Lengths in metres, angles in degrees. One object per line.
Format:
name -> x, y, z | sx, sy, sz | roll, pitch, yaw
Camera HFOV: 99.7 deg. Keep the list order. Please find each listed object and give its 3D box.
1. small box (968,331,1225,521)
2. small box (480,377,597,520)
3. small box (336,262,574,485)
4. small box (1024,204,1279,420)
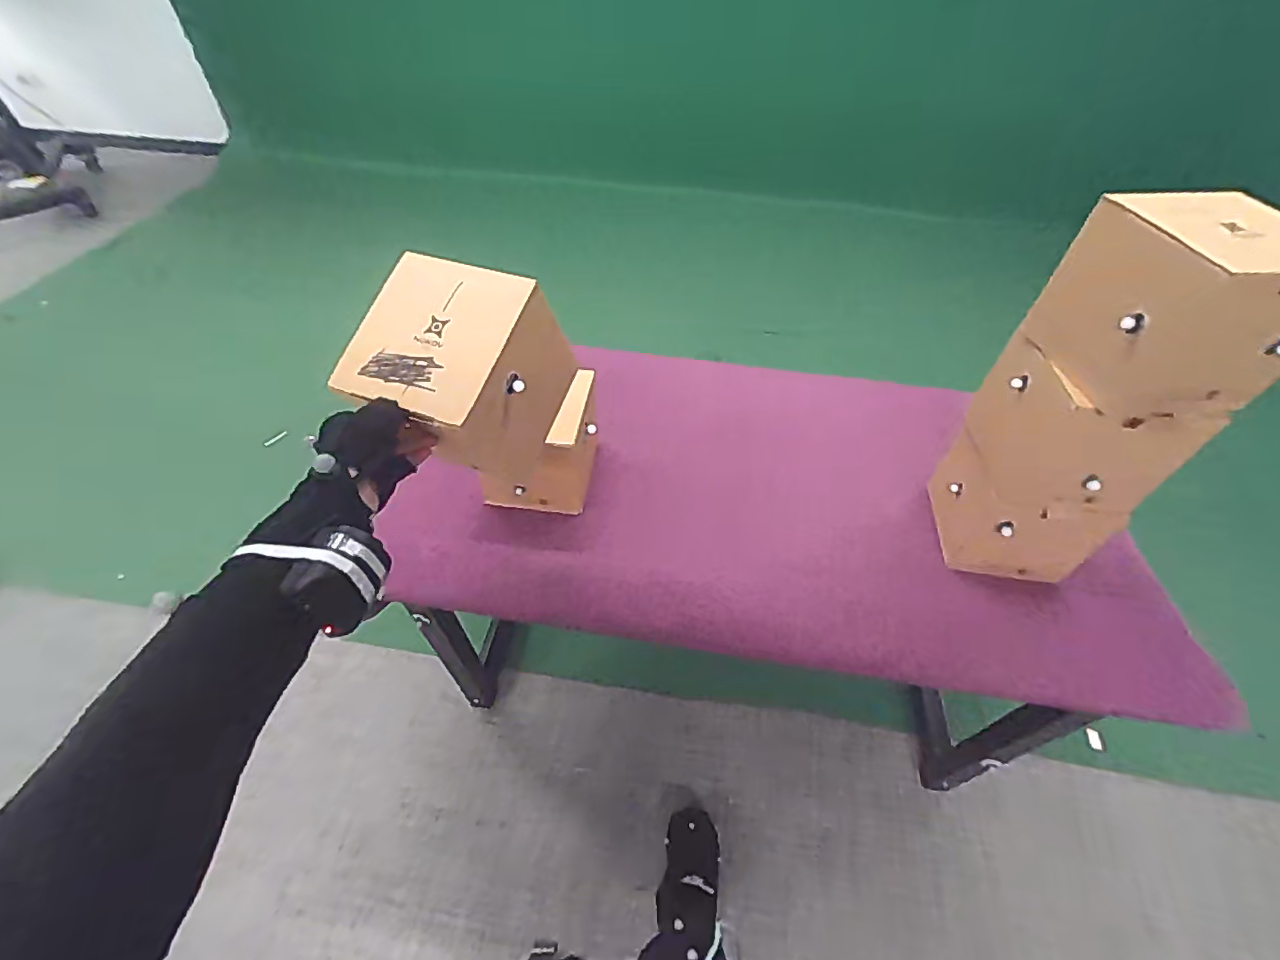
small box -> 0.569, -0.071, 0.711 | 0.168, 0.176, 0.179 | 5, 49, 3
small box -> -0.167, -0.059, 0.901 | 0.168, 0.176, 0.179 | 7, 51, 3
small box -> -0.194, -0.113, 0.624 | 0.168, 0.176, 0.179 | 18, 74, 15
small box -> 0.578, -0.177, 0.588 | 0.168, 0.176, 0.179 | -3, 49, -4
